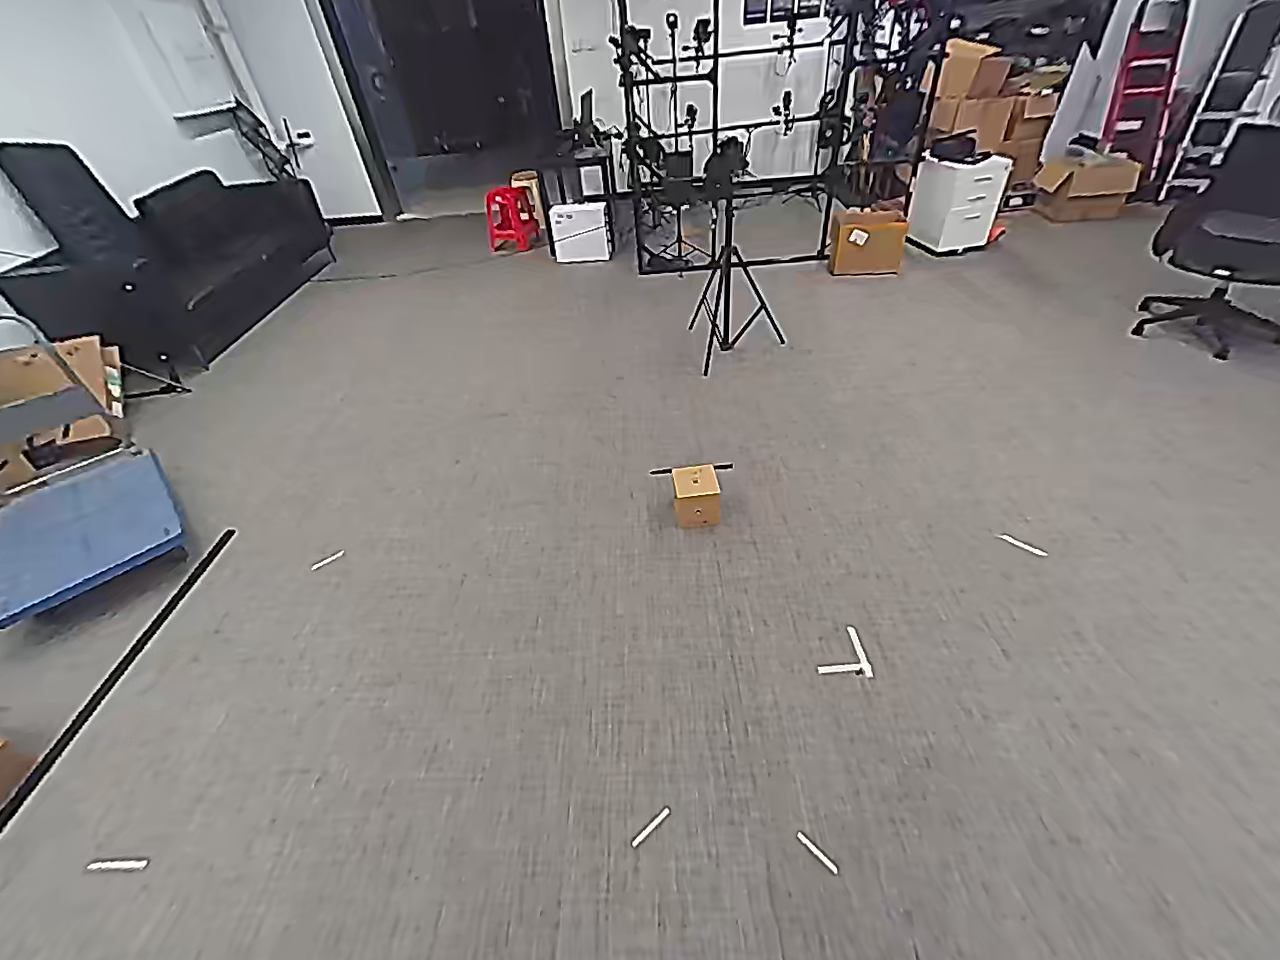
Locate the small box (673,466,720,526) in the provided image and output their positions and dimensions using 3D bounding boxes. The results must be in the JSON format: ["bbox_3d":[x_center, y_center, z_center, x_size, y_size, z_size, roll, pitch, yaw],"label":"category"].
[{"bbox_3d":[0.223,0.068,2.127,0.168,0.176,0.179,-6,40,-1],"label":"small box"}]
